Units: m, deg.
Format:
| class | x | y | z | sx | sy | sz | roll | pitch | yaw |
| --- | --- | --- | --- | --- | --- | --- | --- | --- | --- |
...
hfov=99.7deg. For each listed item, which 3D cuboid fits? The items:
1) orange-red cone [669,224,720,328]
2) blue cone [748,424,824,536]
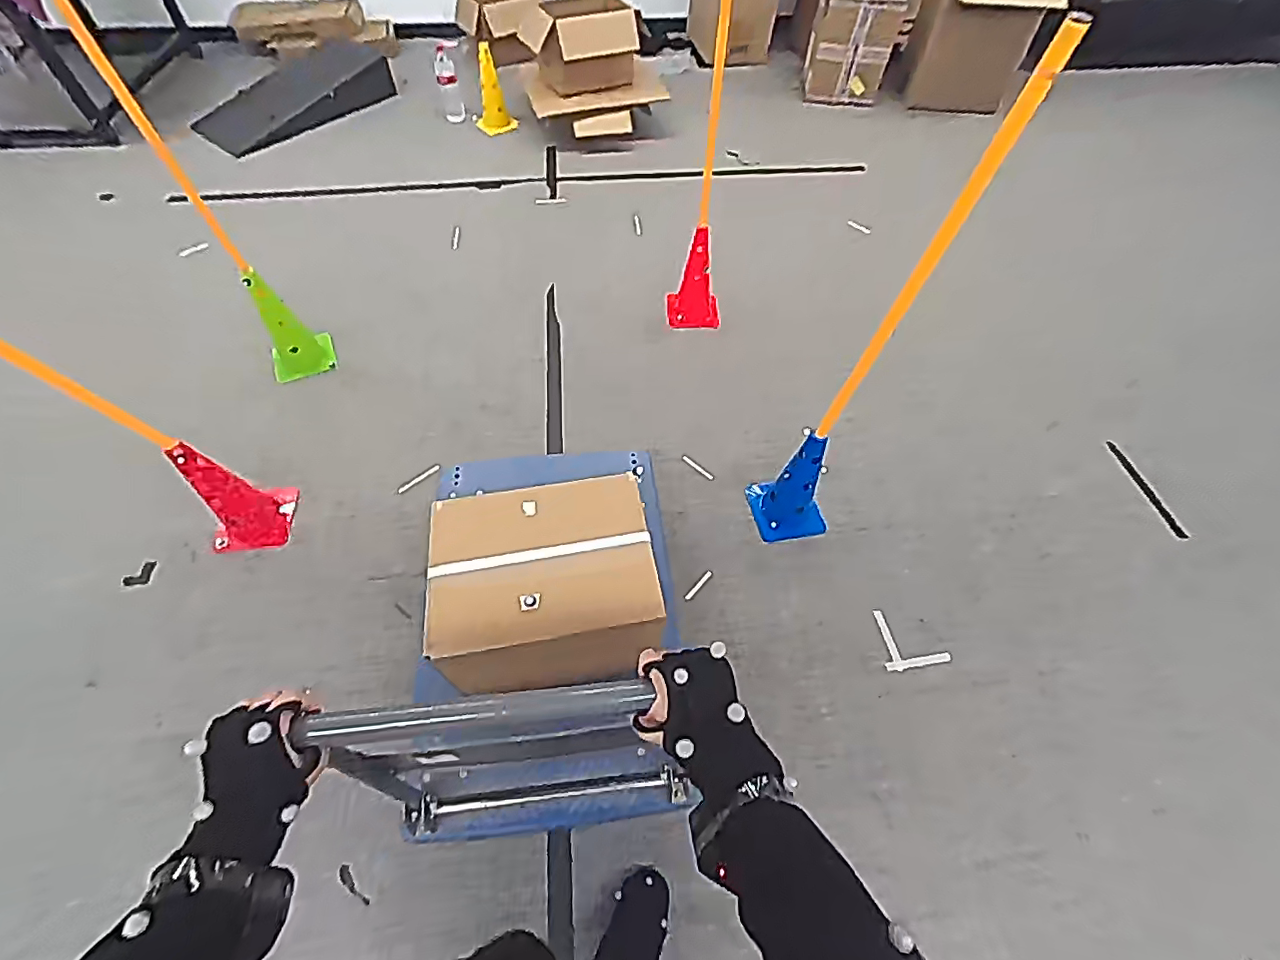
| class | x | y | z | sx | sy | sz | roll | pitch | yaw |
| --- | --- | --- | --- | --- | --- | --- | --- | --- | --- |
| orange-red cone | 0.216 | -0.757 | 1.970 | 0.199 | 0.360 | 0.198 | 1 | 57 | -2 |
| blue cone | 0.441 | -0.012 | 1.495 | 0.193 | 0.380 | 0.192 | -8 | 56 | -7 |
